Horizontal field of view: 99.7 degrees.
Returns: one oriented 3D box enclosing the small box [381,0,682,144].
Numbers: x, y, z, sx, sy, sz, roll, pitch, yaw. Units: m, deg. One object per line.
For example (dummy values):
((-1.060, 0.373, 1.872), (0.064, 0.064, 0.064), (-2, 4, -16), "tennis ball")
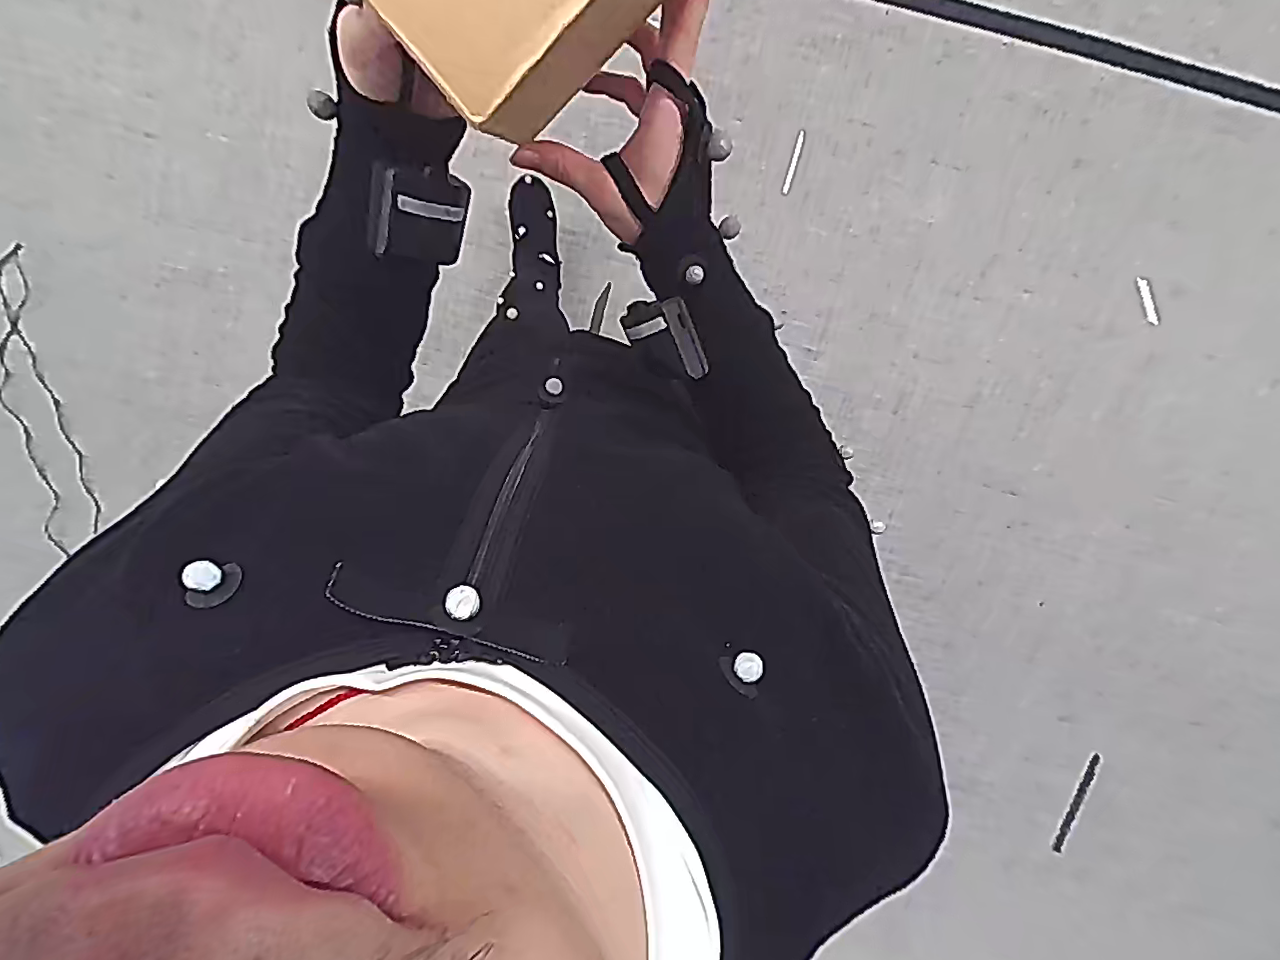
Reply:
((-0.046, -0.266, 0.208), (0.179, 0.176, 0.168), (-38, 116, 15), "small box")
